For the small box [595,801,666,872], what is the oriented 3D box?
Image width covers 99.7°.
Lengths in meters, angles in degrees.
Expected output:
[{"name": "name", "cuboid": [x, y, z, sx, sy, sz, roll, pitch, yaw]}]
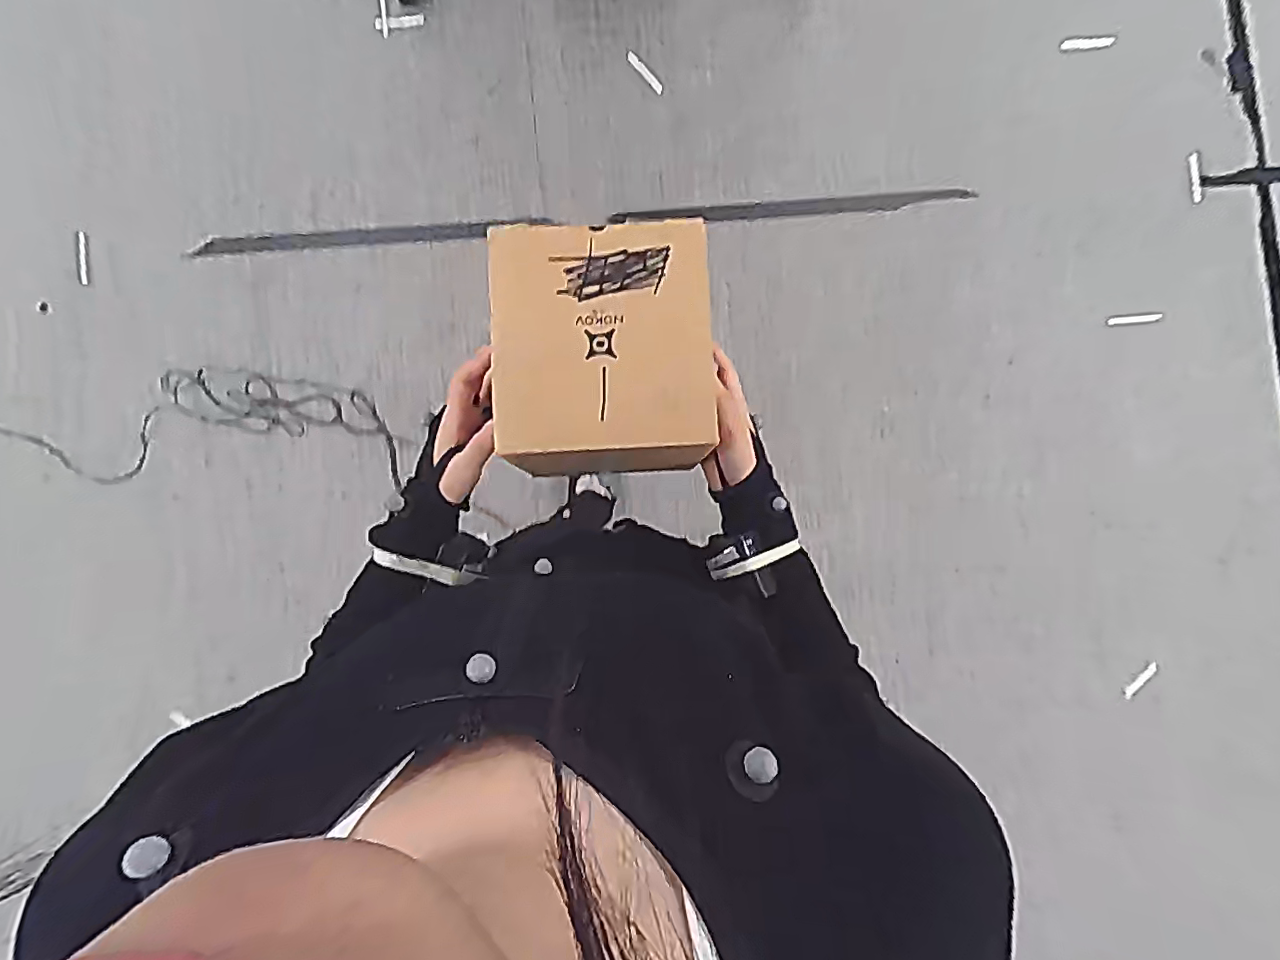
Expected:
[{"name": "small box", "cuboid": [-0.024, 0.959, 1.398, 0.179, 0.176, 0.168, 0, 88, -2]}]

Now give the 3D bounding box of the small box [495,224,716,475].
[{"name": "small box", "cuboid": [-0.030, -0.102, 0.486, 0.168, 0.176, 0.179, -2, 85, -2]}]

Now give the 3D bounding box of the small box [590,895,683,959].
[{"name": "small box", "cuboid": [-0.010, 0.963, 1.071, 0.179, 0.176, 0.168, 0, 87, -2]}]

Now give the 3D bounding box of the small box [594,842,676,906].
[{"name": "small box", "cuboid": [-0.017, 0.961, 1.233, 0.179, 0.176, 0.168, 2, 87, -2]}]
